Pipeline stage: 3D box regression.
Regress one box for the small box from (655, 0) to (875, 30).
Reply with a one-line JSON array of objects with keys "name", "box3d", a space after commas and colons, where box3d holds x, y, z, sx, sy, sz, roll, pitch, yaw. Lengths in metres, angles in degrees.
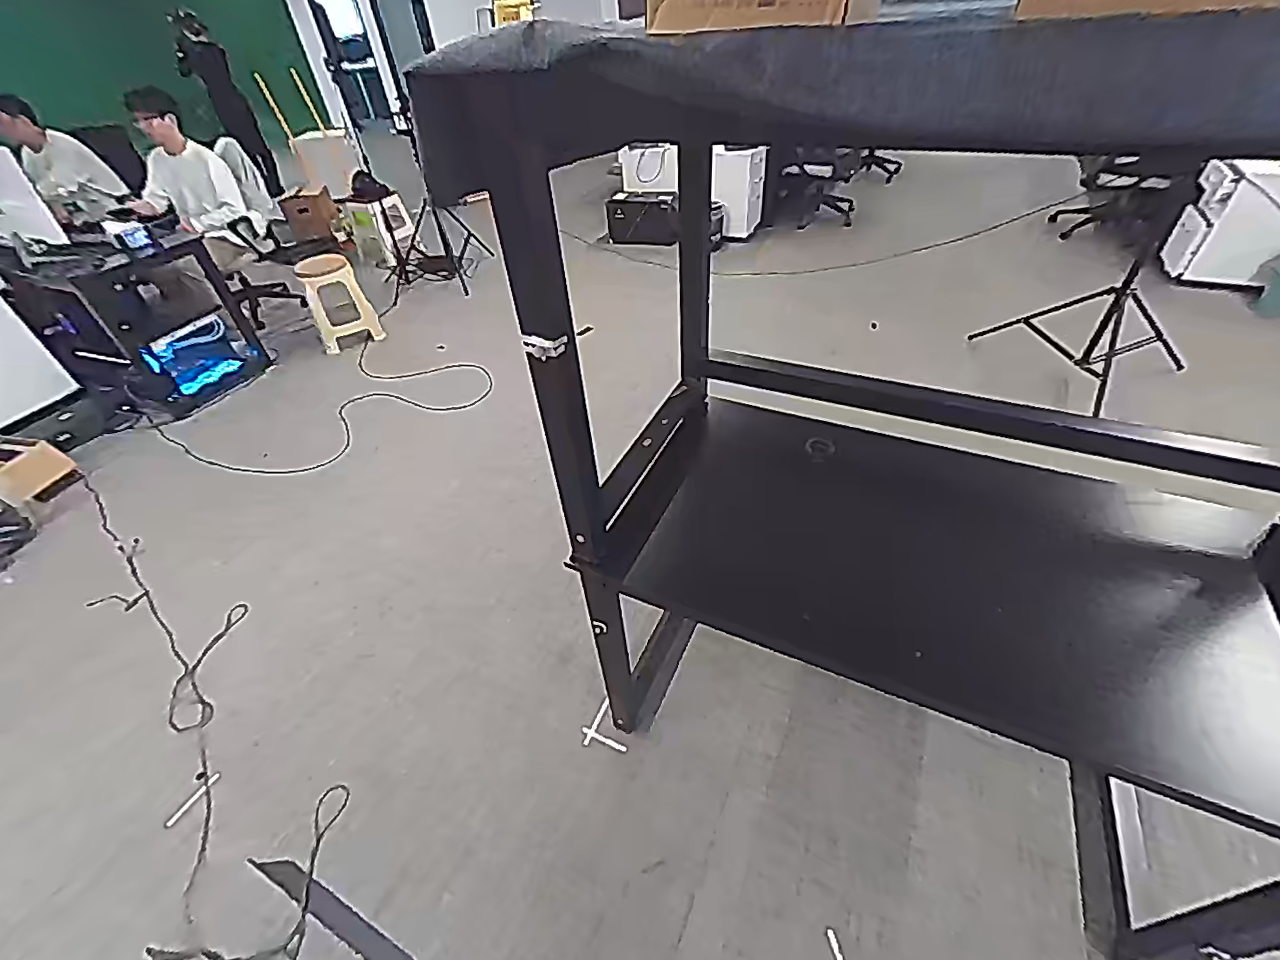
[{"name": "small box", "box3d": [0.113, -0.474, 0.431, 0.168, 0.176, 0.179, 16, 45, 20]}]
